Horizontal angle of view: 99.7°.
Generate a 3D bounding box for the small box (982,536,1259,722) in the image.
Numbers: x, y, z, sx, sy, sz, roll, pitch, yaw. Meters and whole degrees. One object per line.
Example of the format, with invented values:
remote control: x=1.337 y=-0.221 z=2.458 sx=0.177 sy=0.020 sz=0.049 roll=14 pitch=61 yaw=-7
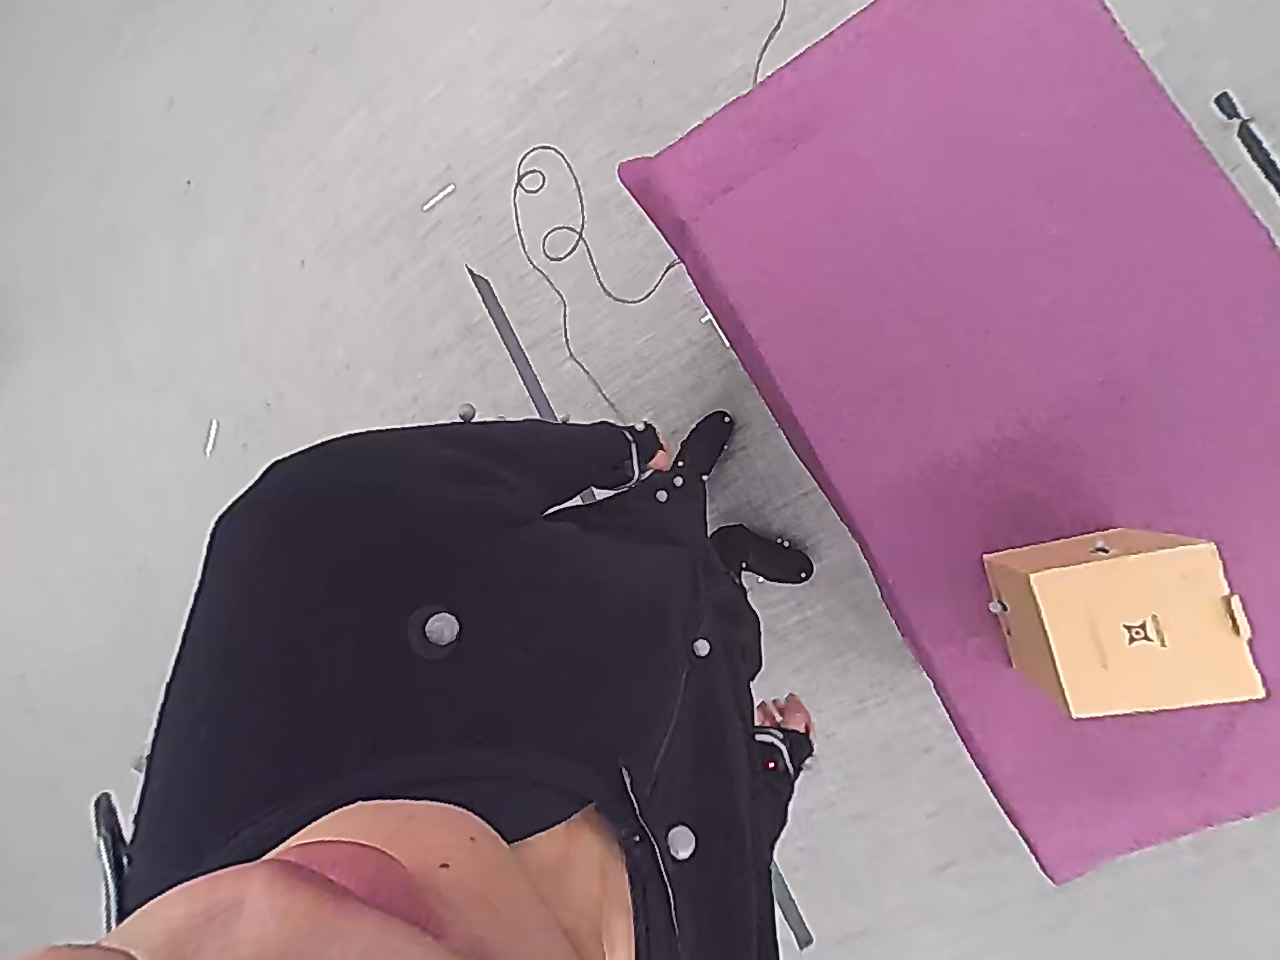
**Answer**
small box: x=0.555 y=0.168 z=0.655 sx=0.179 sy=0.176 sz=0.168 roll=-14 pitch=85 yaw=15
